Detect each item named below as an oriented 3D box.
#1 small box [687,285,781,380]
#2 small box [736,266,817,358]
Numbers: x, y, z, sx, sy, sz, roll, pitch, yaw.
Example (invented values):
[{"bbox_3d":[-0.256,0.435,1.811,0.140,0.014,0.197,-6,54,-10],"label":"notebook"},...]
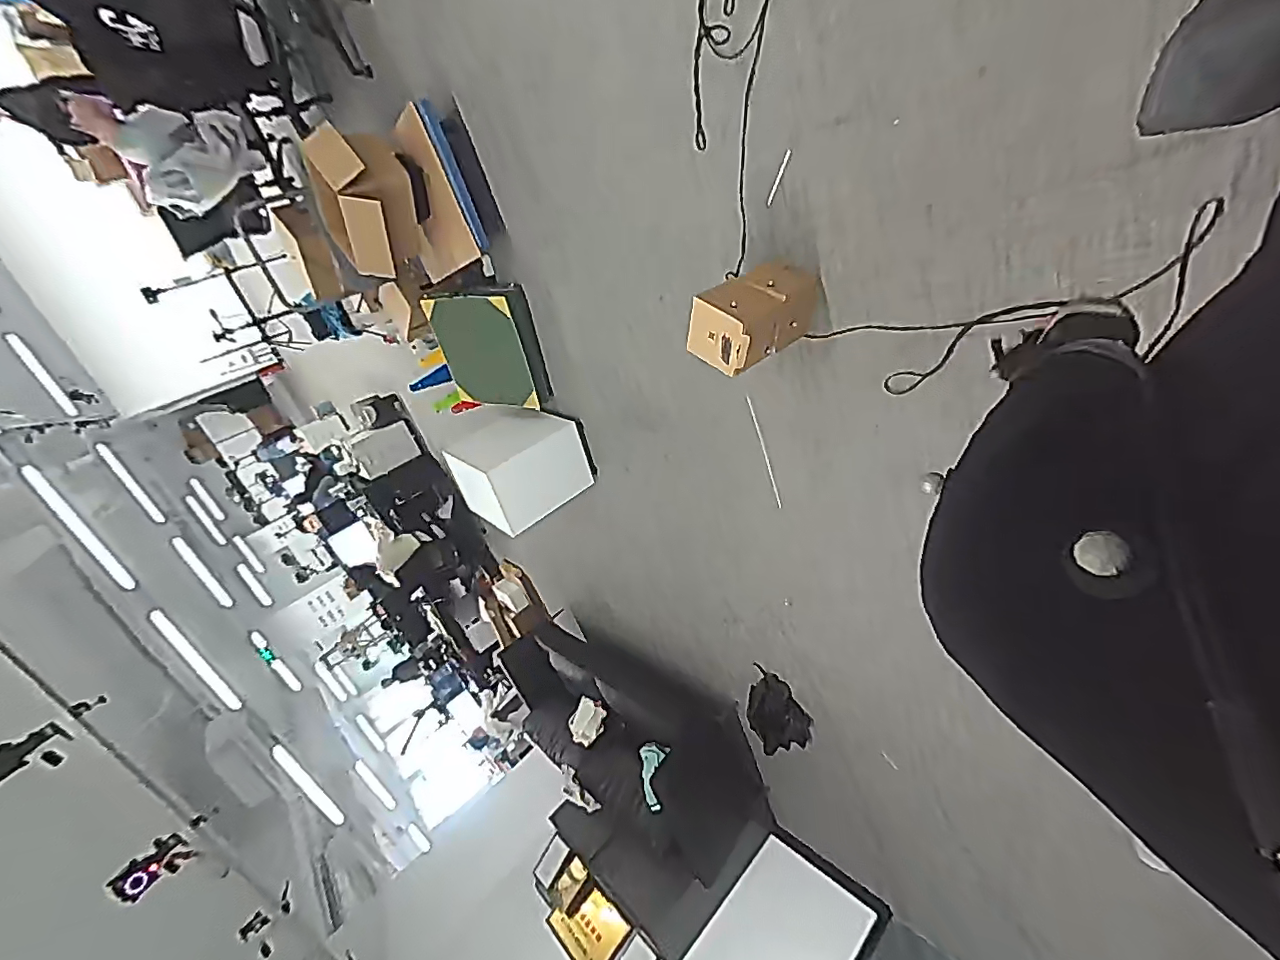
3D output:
[{"bbox_3d":[0.254,-0.406,1.467,0.179,0.176,0.168,39,145,28],"label":"small box"},{"bbox_3d":[0.380,-0.483,1.543,0.168,0.176,0.179,36,144,31],"label":"small box"}]
